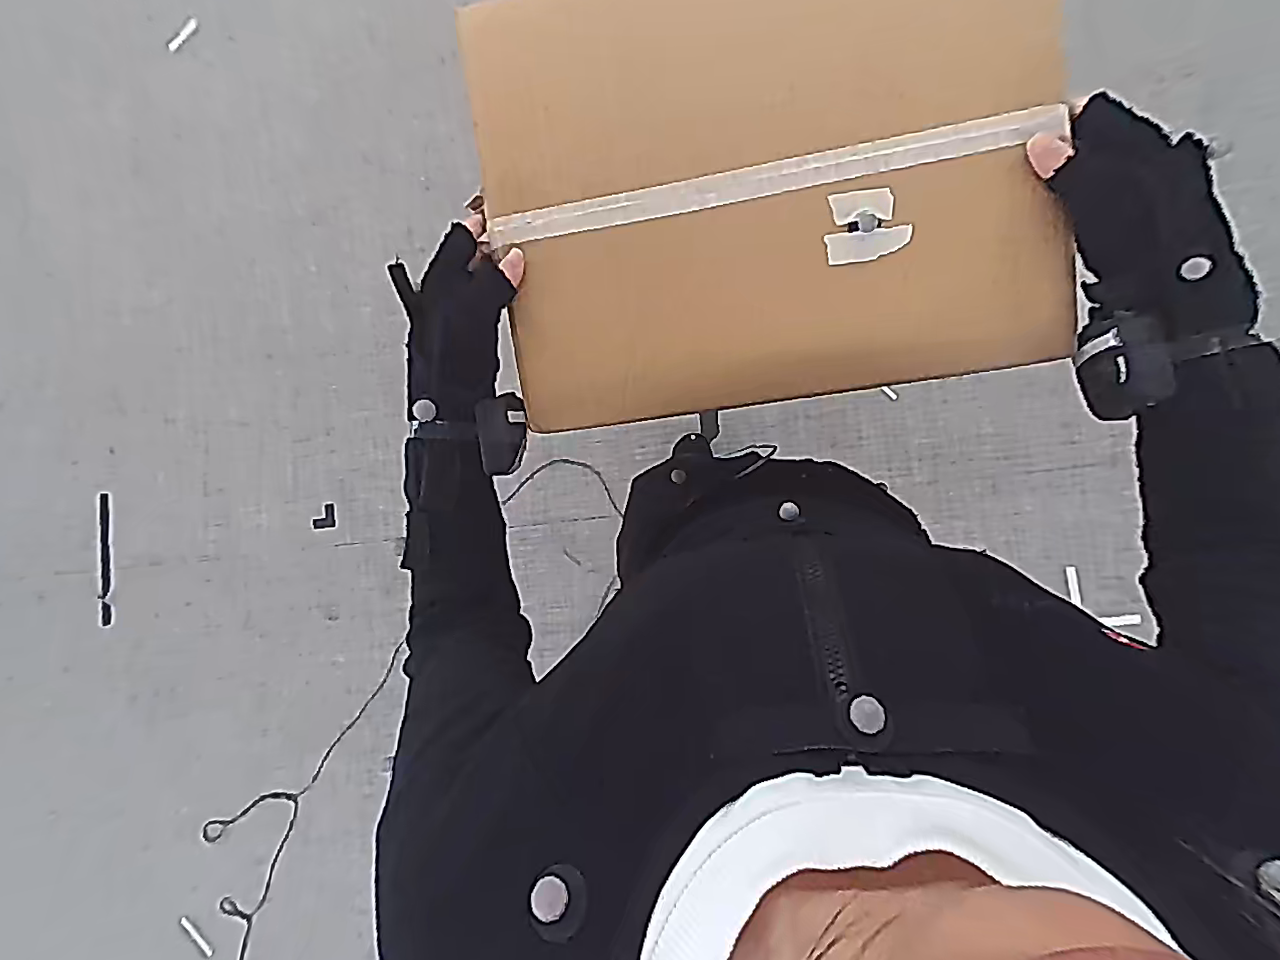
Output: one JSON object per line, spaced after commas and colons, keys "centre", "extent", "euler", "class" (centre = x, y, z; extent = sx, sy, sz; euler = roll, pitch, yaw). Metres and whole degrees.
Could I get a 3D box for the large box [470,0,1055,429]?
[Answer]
{"centre": [0.101, -0.241, 0.550], "extent": [0.408, 0.320, 0.320], "euler": [-8, 98, 7], "class": "large box"}
